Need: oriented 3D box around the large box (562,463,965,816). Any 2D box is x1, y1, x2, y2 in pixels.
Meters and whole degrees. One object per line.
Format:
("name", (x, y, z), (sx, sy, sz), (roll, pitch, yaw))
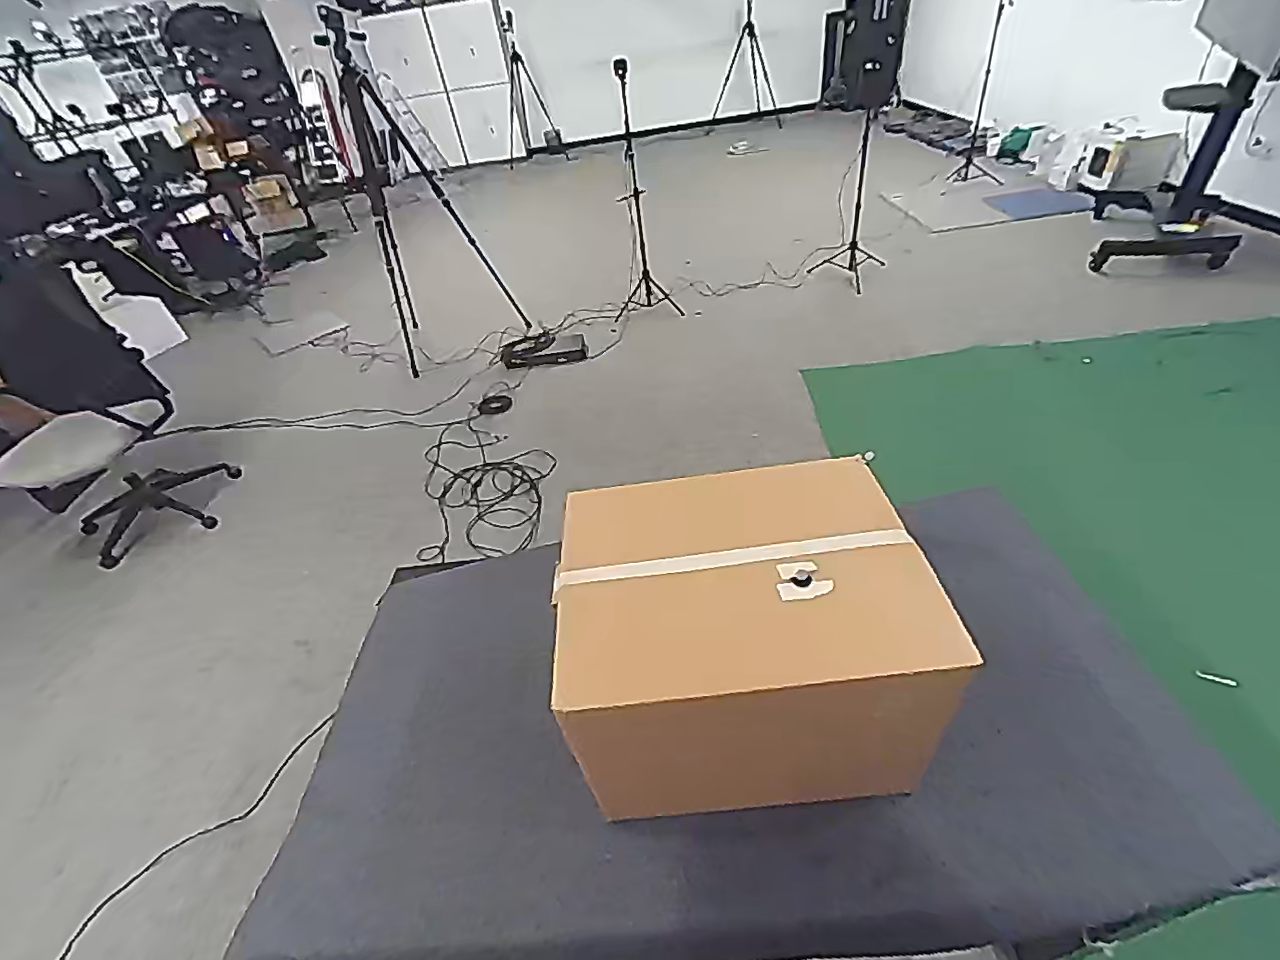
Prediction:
("large box", (0.126, 0.212, 0.730), (0.408, 0.320, 0.320), (-7, 41, 2))
